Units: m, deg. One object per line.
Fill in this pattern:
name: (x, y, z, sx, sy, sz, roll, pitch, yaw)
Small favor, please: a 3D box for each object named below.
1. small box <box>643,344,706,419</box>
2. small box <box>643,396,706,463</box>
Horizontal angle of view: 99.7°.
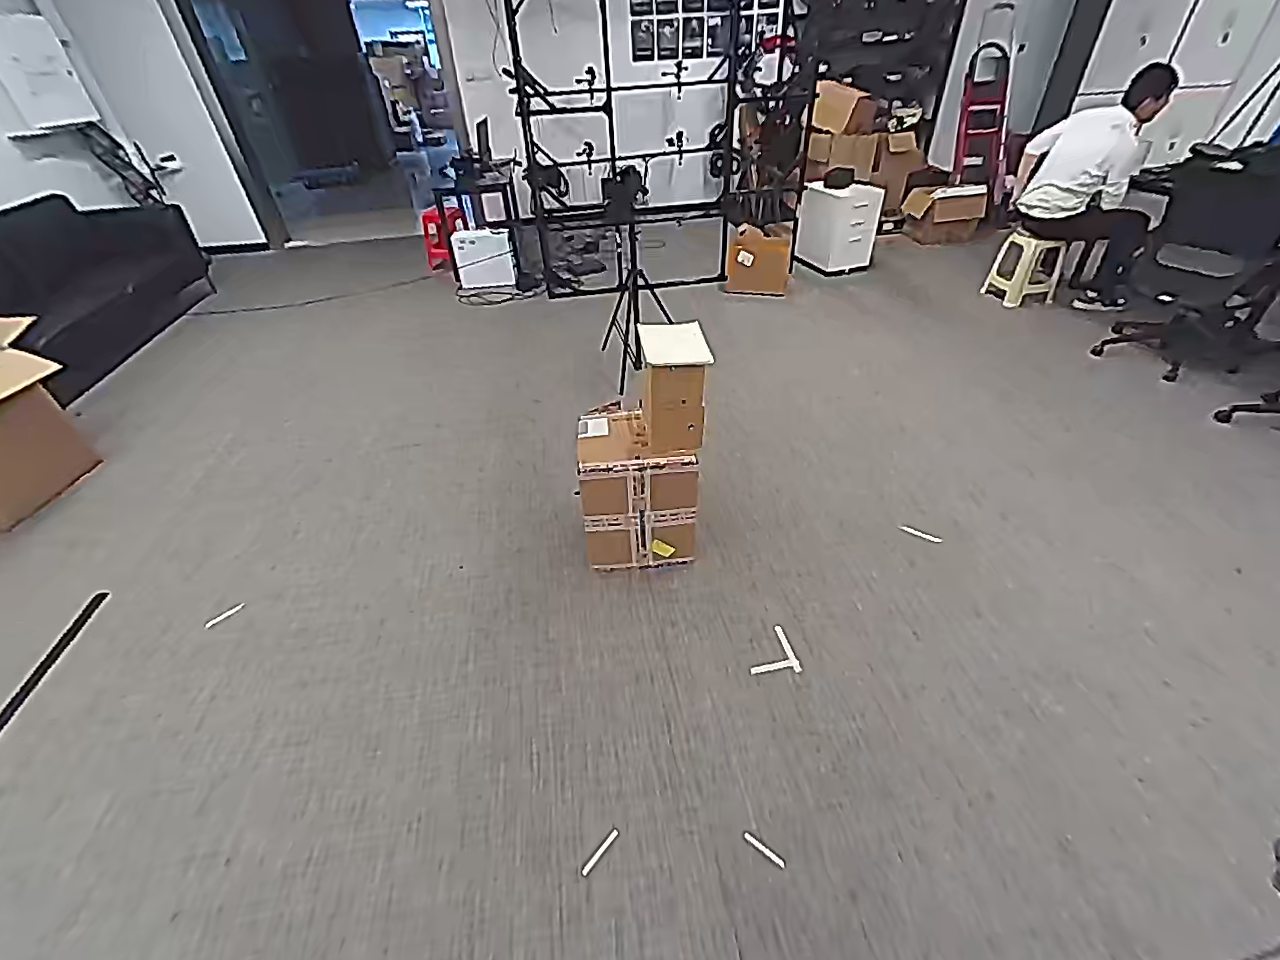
small box: (0.102, -0.308, 1.693, 0.168, 0.176, 0.179, -6, 39, -6)
small box: (0.107, -0.176, 1.790, 0.179, 0.176, 0.168, -8, 40, -8)
